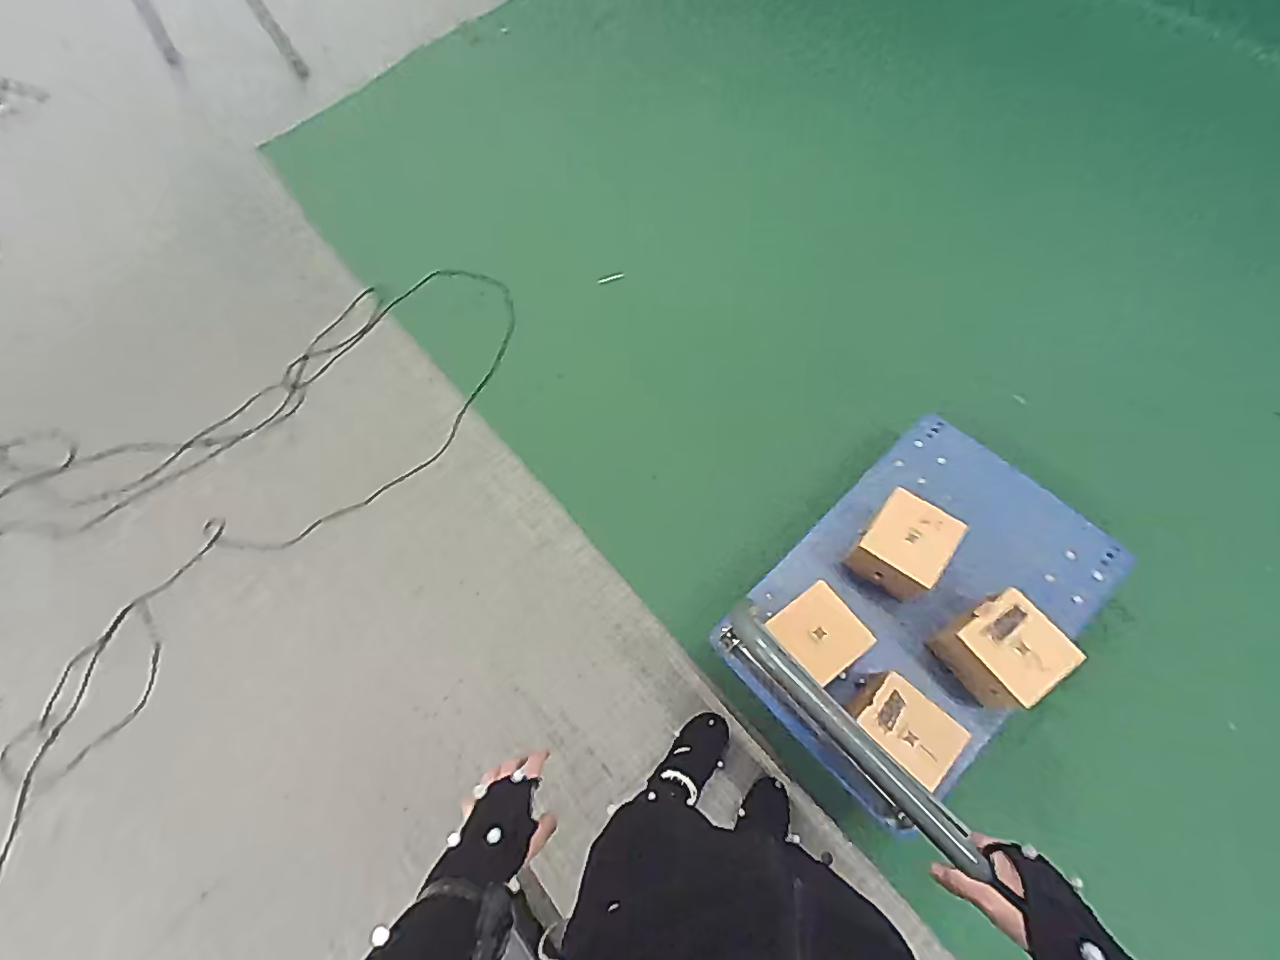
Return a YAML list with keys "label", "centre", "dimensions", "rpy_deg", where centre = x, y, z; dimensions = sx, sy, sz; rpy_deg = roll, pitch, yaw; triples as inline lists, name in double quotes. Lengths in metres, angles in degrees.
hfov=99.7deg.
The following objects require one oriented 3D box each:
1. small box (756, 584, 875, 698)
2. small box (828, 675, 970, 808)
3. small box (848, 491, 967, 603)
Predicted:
- label: "small box"
  centre: [0.375, 0.357, 1.194]
  dimensions: [0.179, 0.176, 0.168]
  rpy_deg: [-35, 69, -8]
- label: "small box"
  centre: [0.515, 0.526, 1.106]
  dimensions: [0.179, 0.176, 0.168]
  rpy_deg: [42, 78, 18]
- label: "small box"
  centre: [0.603, 0.162, 1.247]
  dimensions: [0.168, 0.176, 0.179]
  rpy_deg: [36, 76, 17]
